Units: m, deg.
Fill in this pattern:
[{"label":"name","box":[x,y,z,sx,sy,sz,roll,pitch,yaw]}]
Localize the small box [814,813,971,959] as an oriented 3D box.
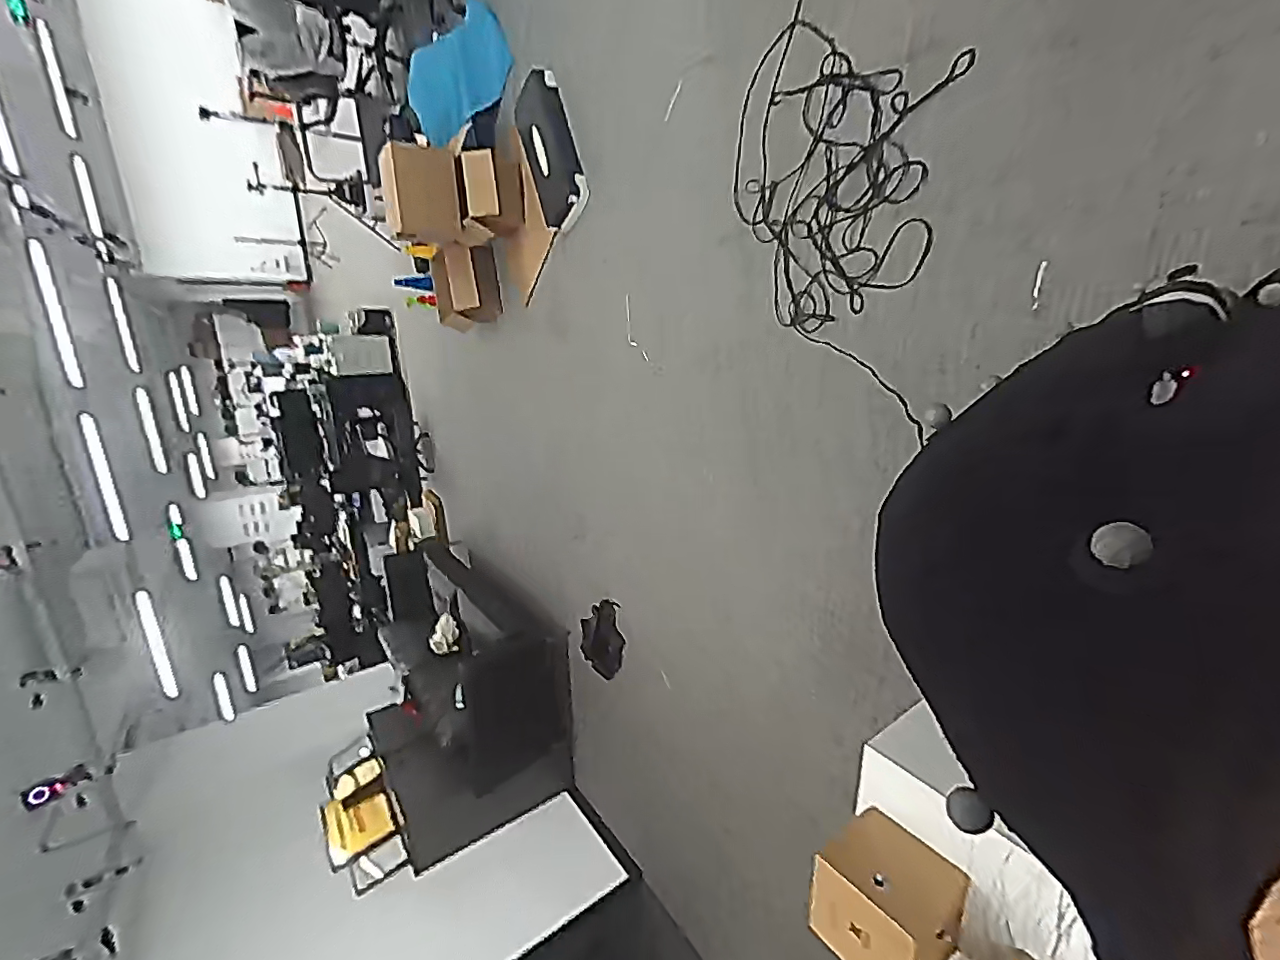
[{"label":"small box","box":[0.418,0.705,0.899,0.179,0.176,0.168,19,114,52]}]
